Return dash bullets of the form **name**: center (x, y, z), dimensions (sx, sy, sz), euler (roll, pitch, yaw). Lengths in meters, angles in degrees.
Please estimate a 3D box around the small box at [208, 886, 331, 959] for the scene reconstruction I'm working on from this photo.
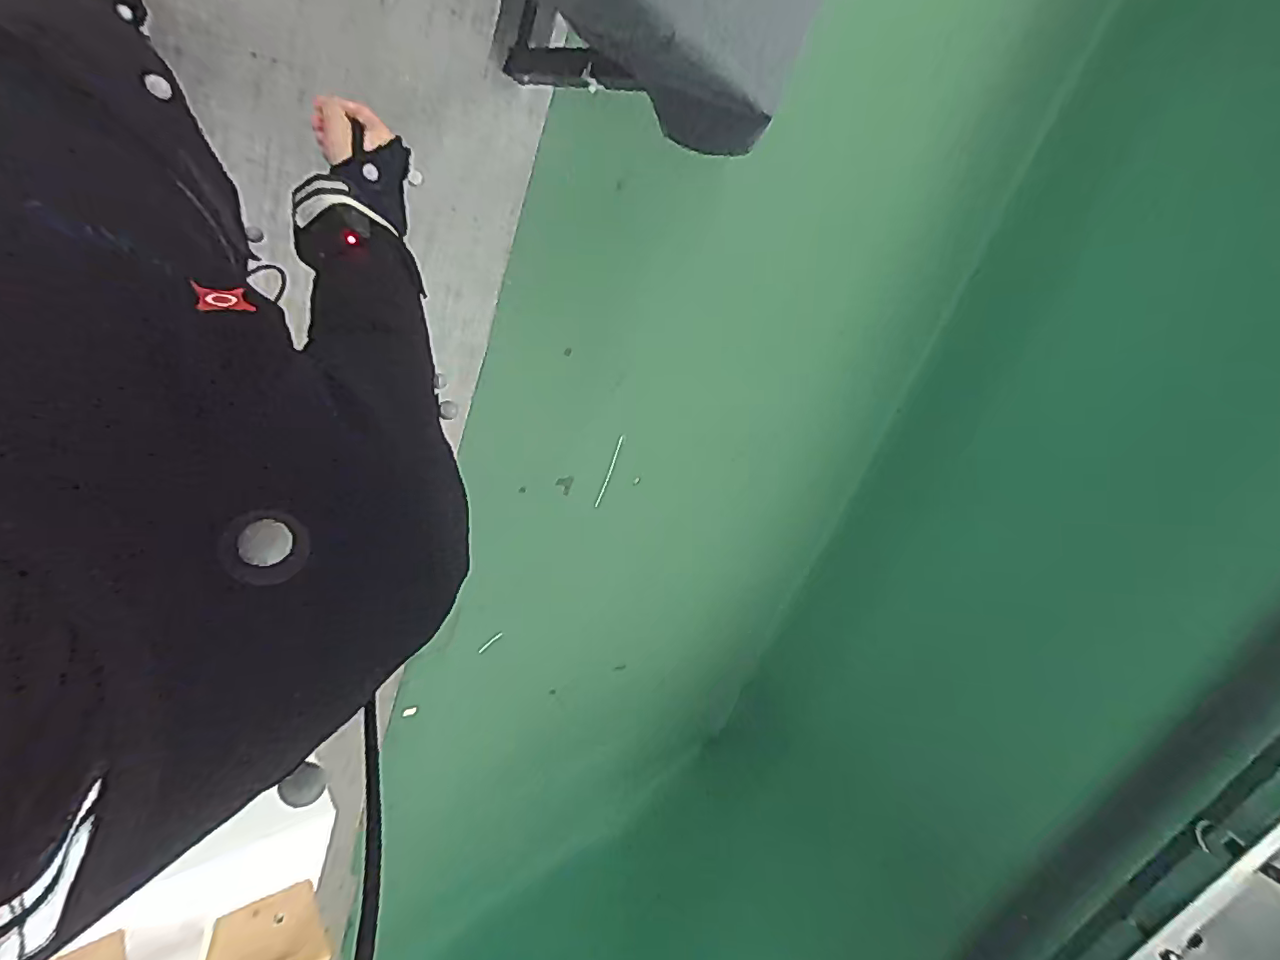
- **small box**: center (-0.749, 0.978, 1.085), dimensions (0.168, 0.176, 0.179), euler (5, 114, -48)
